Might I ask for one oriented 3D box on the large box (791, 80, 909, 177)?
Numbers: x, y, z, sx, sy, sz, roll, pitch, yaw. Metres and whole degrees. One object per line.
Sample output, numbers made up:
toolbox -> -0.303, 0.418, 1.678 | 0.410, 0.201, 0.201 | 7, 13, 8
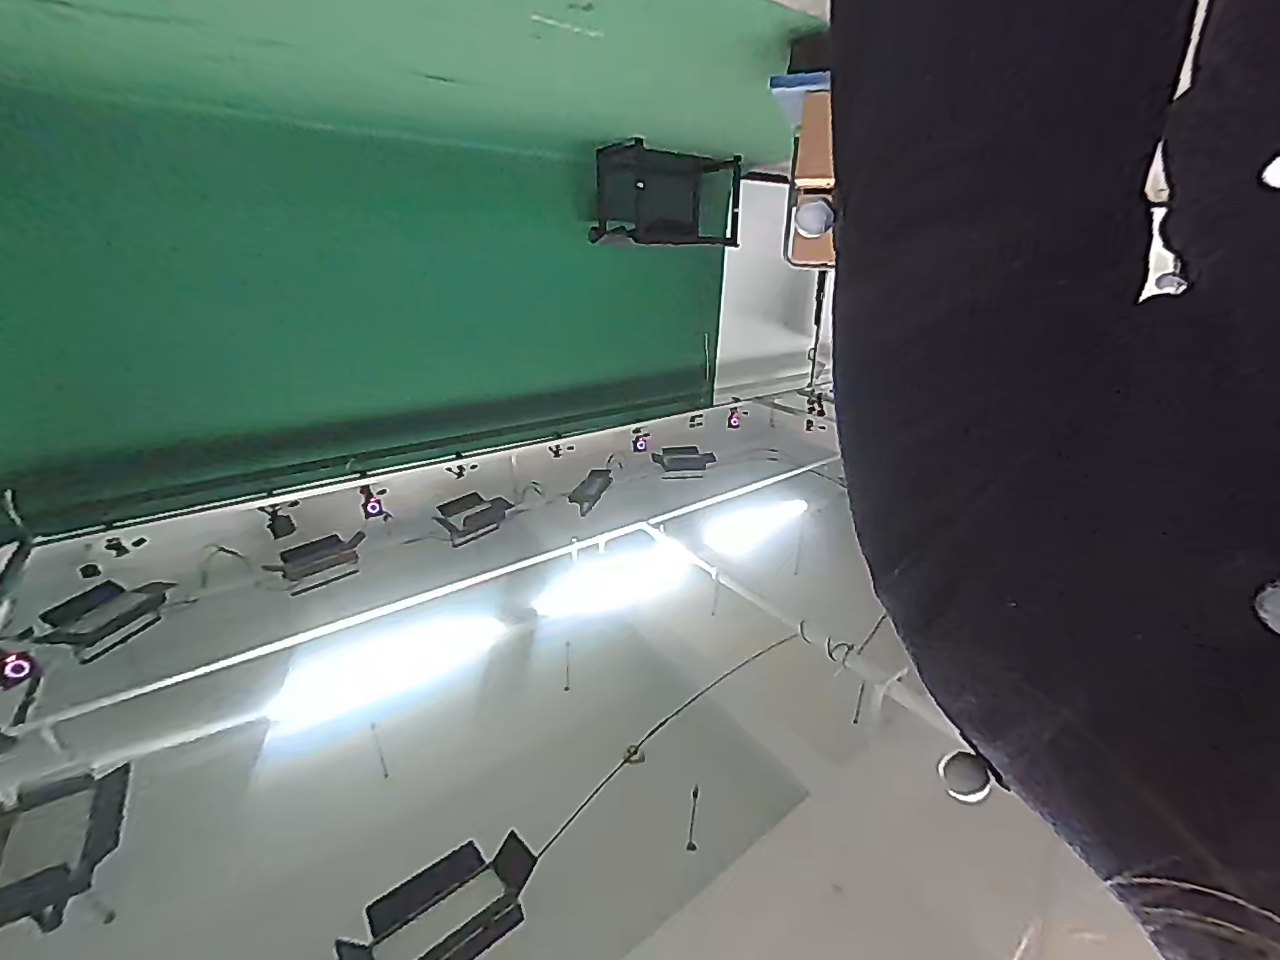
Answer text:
large box -> 0.866, -1.455, 2.267 | 0.408, 0.320, 0.320 | 8, -153, 15
